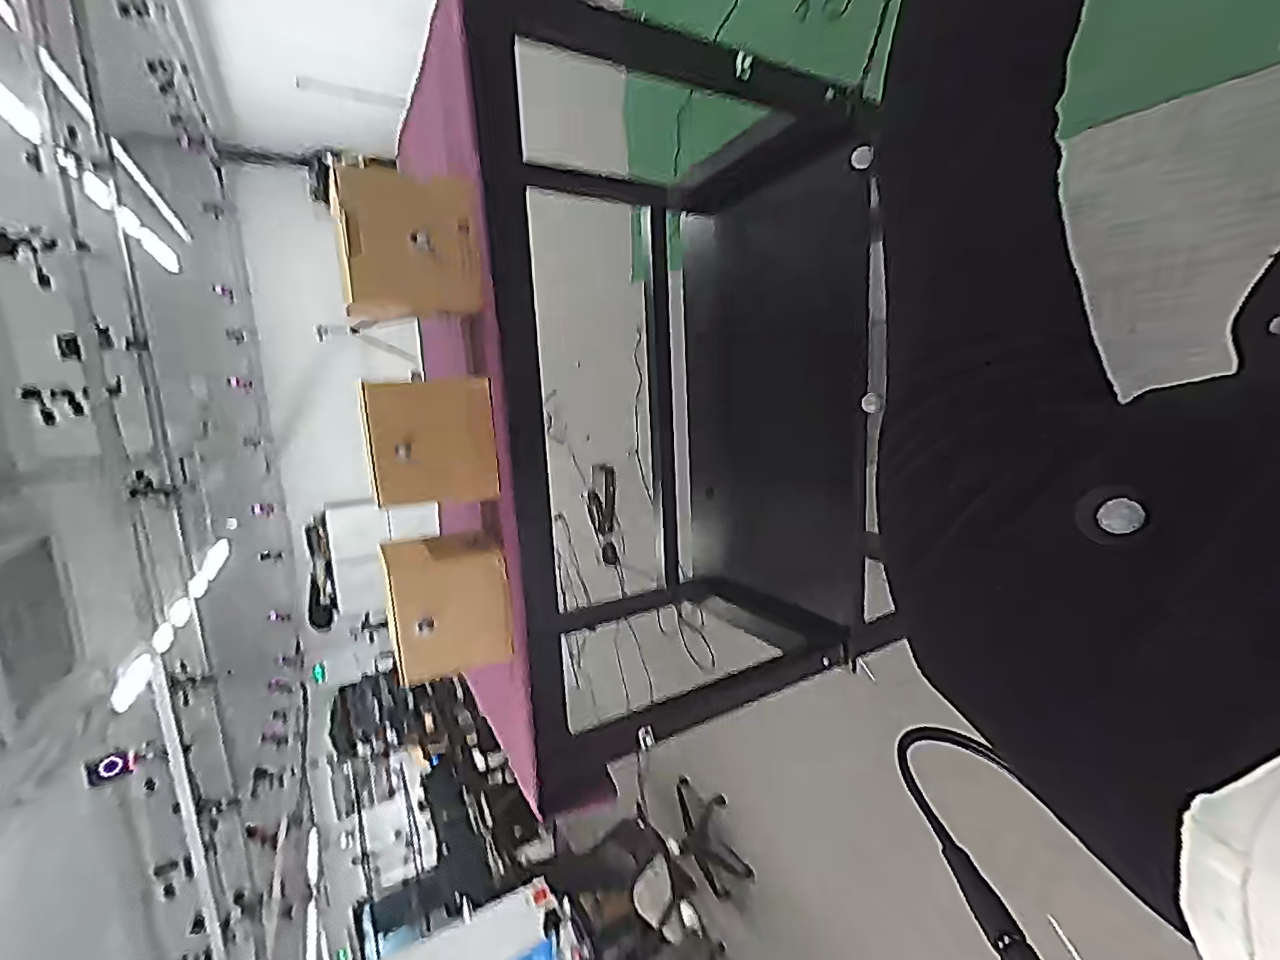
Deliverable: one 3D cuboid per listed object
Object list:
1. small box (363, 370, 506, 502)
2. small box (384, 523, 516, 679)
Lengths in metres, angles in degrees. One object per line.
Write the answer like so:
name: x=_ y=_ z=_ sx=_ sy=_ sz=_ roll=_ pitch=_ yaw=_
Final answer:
small box: x=-0.311 y=-0.072 z=0.818 sx=0.168 sy=0.176 sz=0.179 roll=11 pitch=107 yaw=61
small box: x=-0.301 y=0.178 z=0.856 sx=0.168 sy=0.176 sz=0.179 roll=16 pitch=110 yaw=59
